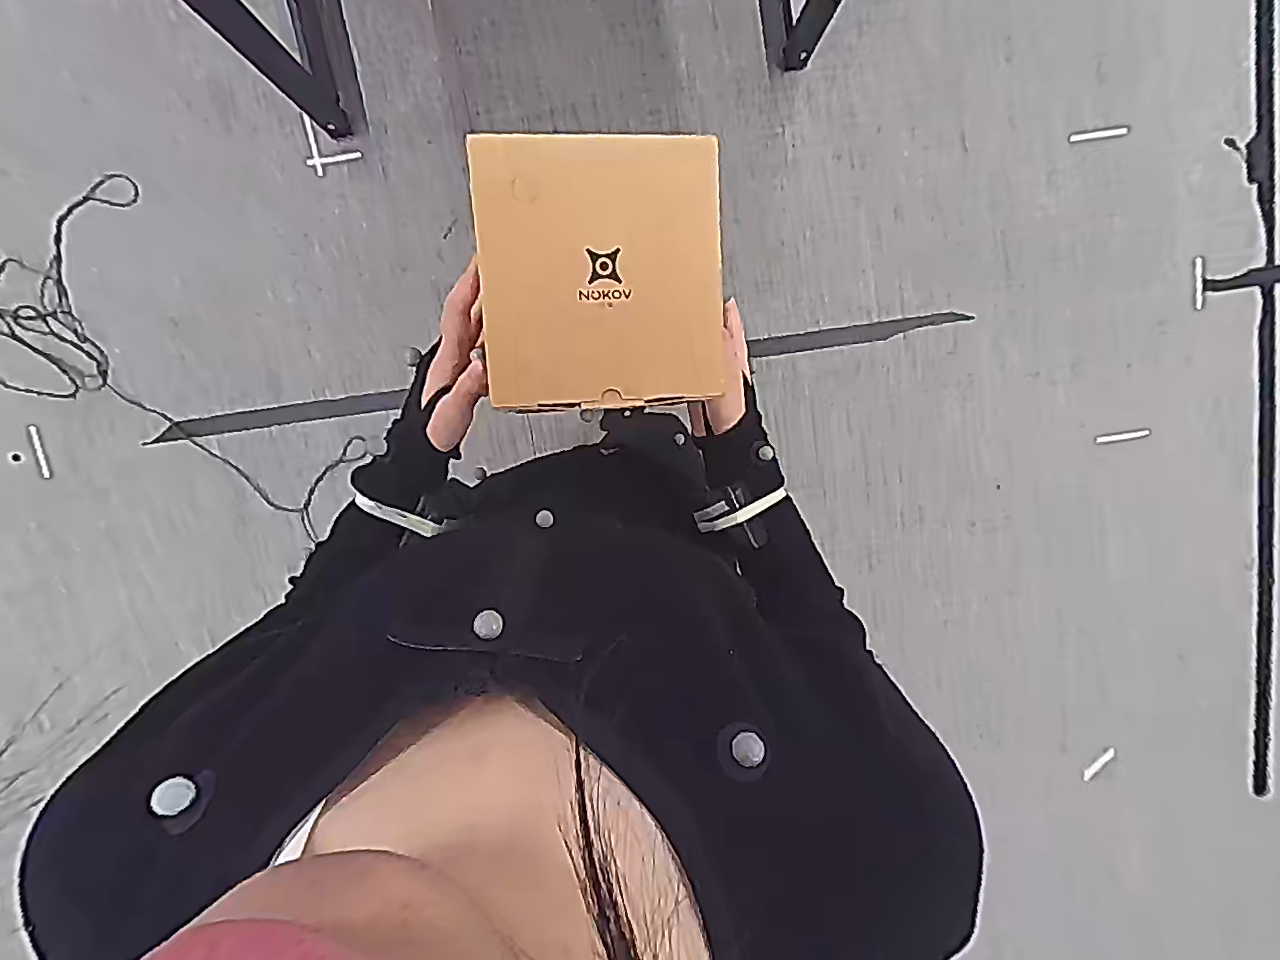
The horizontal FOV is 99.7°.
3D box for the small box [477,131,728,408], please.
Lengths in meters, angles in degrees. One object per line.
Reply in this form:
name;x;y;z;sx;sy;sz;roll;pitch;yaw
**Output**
small box;-0.033;-0.151;0.444;0.168;0.176;0.179;-4;98;-8
